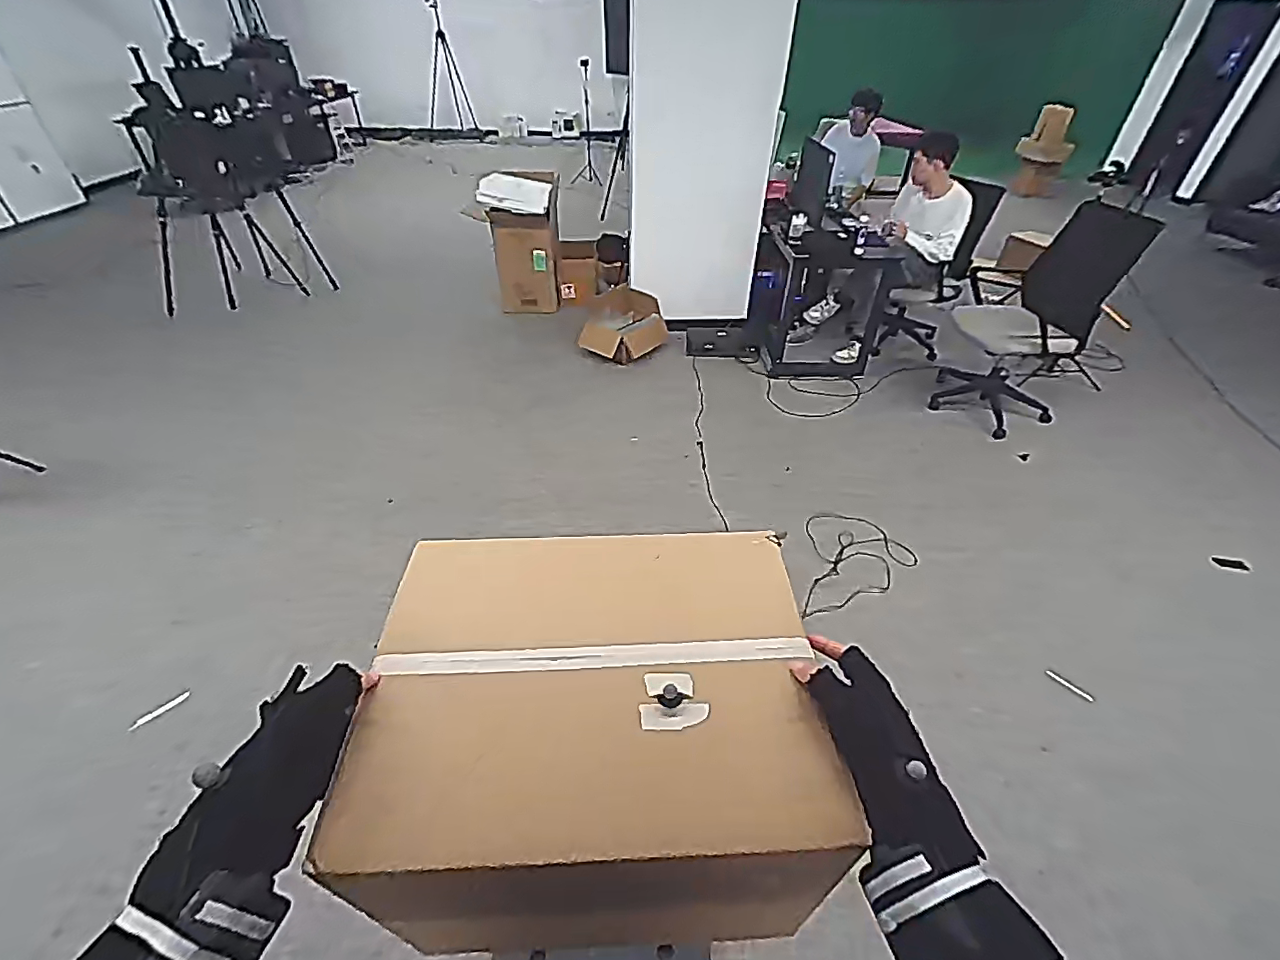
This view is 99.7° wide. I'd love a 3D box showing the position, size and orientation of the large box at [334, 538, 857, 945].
[{"bbox_3d":[-0.040,0.285,0.611,0.408,0.320,0.320,-1,41,-2],"label":"large box"}]
